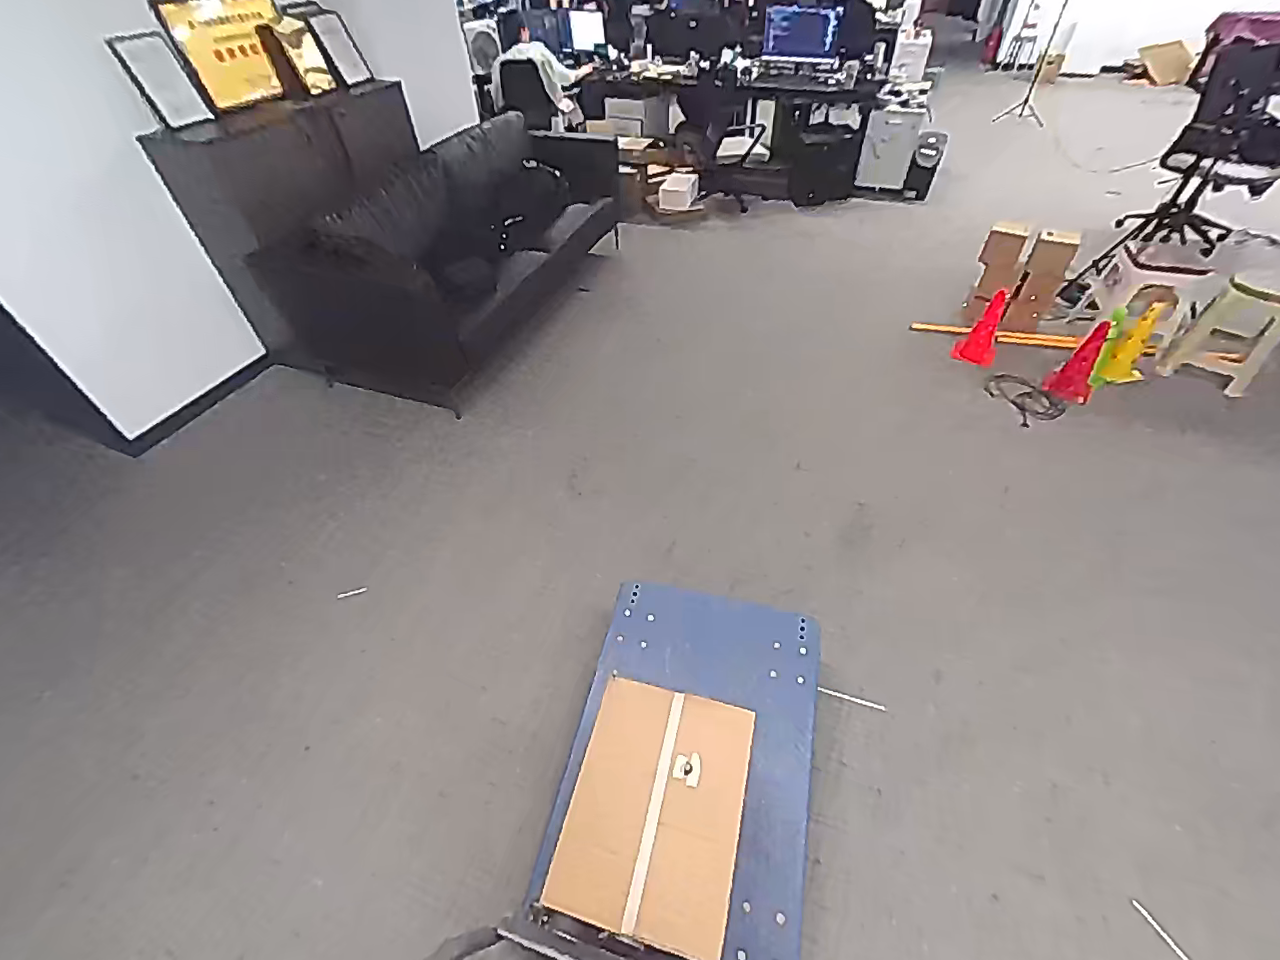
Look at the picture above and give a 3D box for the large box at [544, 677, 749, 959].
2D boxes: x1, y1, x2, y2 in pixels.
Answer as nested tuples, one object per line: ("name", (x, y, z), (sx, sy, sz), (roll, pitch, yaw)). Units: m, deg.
("large box", (0.039, 0.688, 1.123), (0.320, 0.320, 0.408), (10, 53, 12))
